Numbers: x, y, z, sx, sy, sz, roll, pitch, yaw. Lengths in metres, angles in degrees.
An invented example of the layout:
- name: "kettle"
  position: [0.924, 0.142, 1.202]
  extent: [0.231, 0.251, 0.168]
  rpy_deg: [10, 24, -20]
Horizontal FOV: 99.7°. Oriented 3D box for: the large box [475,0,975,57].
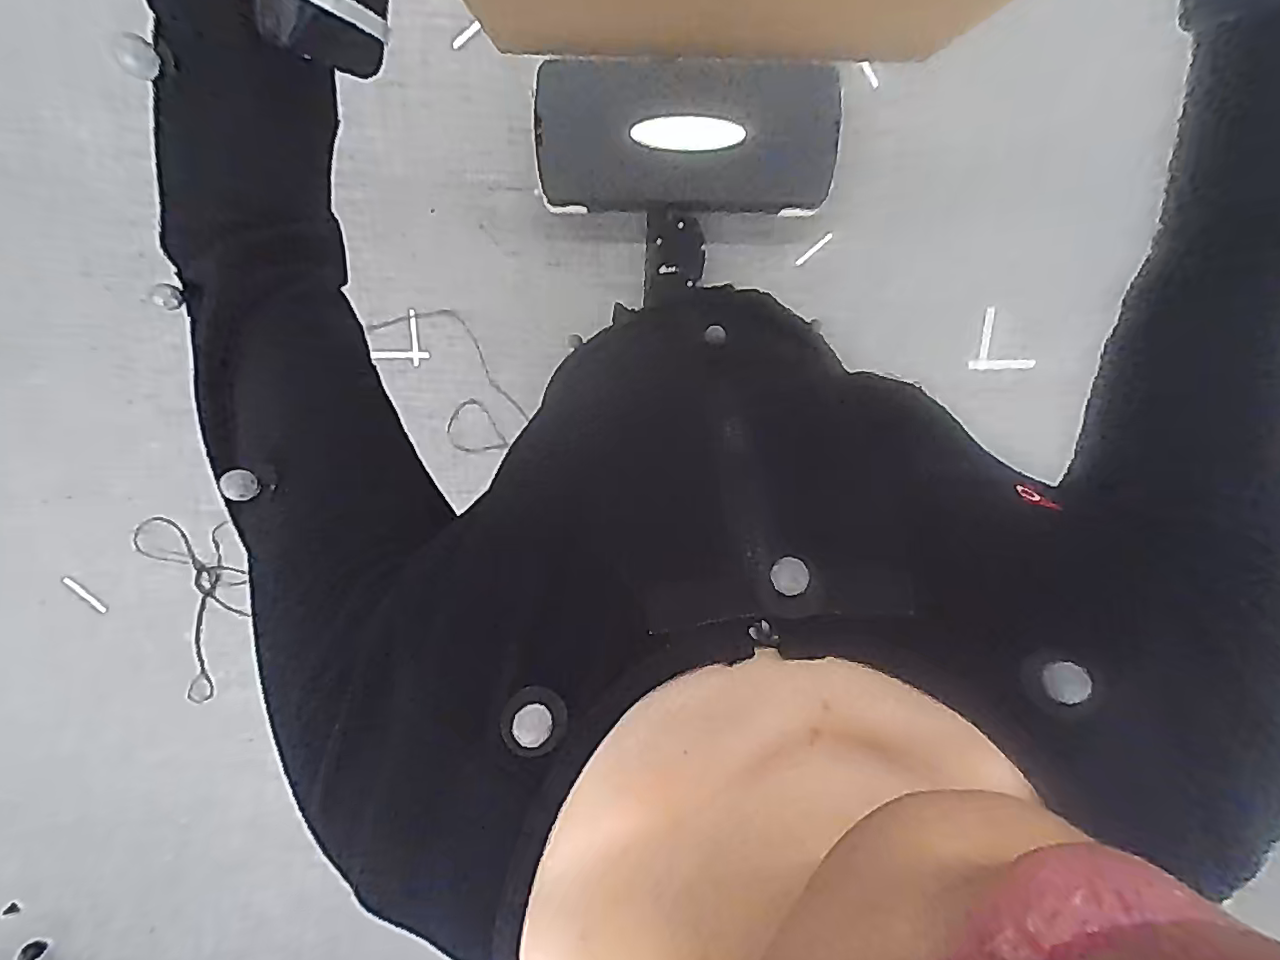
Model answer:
- name: "large box"
  position: [0.066, -0.492, 0.321]
  extent: [0.408, 0.320, 0.320]
  rpy_deg: [0, 112, 0]
